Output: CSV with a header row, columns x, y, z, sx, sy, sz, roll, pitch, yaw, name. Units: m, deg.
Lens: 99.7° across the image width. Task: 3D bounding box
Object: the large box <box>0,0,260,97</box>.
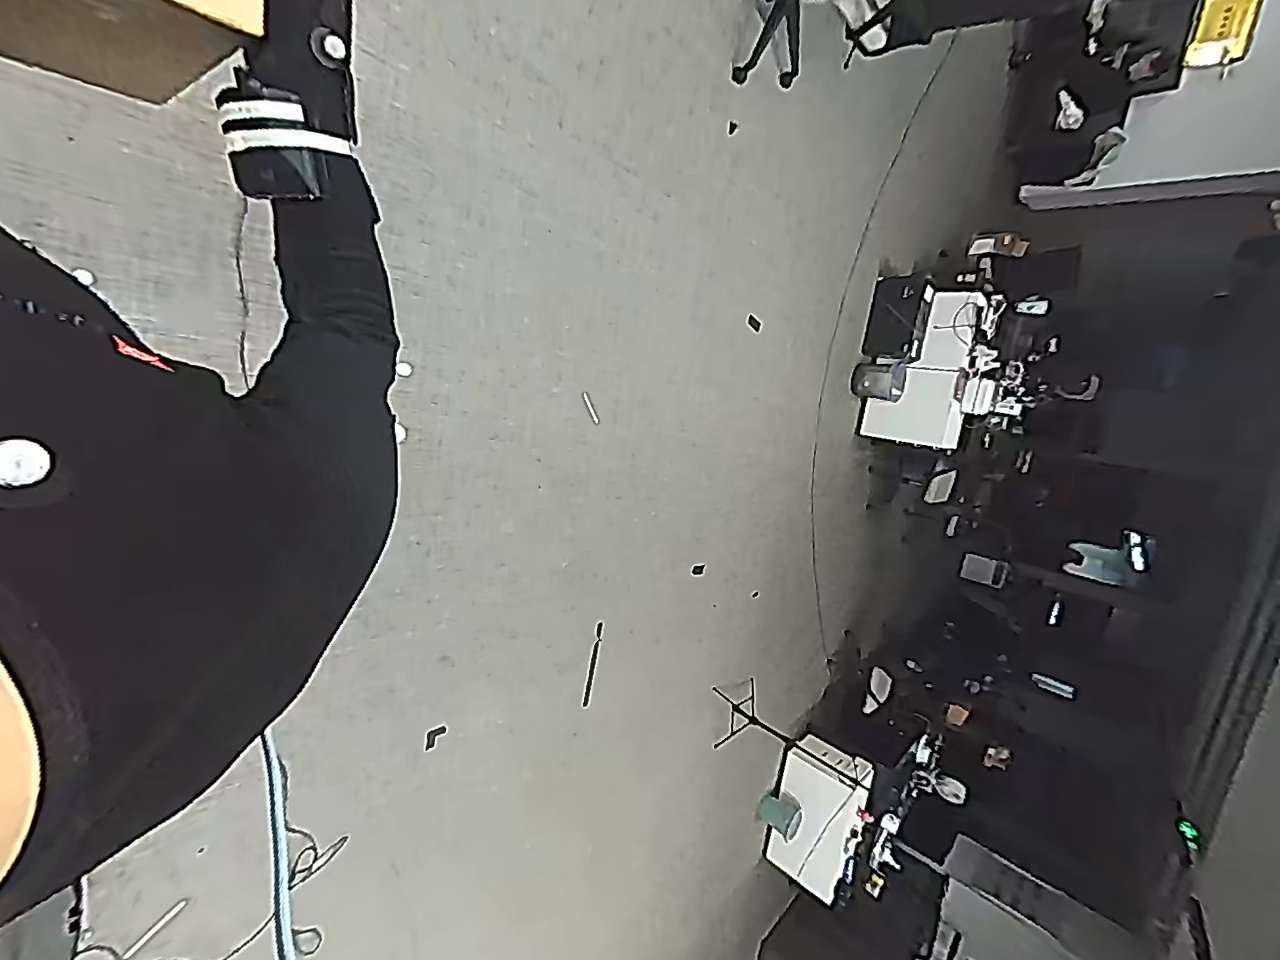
x,y,z,sx,sy,sz,roll,pitch,yaw,name
-0.469,-0.454,0.253,0.408,0.320,0.320,-10,113,-49,large box
